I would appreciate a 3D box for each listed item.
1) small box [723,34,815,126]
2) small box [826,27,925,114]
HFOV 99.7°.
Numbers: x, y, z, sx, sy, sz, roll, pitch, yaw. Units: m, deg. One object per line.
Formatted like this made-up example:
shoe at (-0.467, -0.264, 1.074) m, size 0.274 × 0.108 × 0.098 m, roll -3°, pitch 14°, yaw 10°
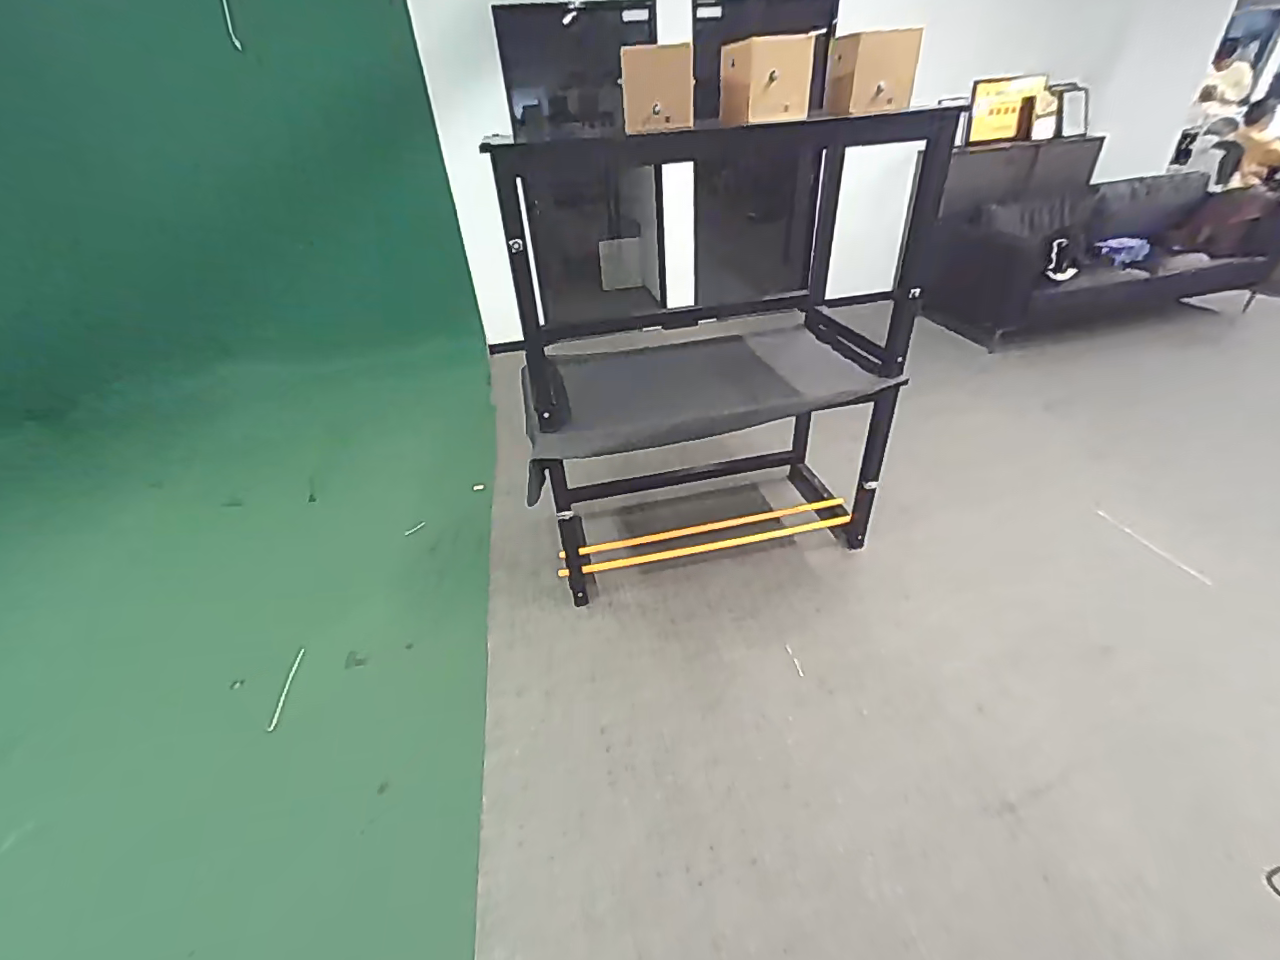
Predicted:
small box at (0.318, -1.003, 1.366) m, size 0.168 × 0.176 × 0.179 m, roll -13°, pitch 35°, yaw -12°
small box at (0.603, -1.060, 1.411) m, size 0.168 × 0.176 × 0.179 m, roll -8°, pitch 35°, yaw -3°
